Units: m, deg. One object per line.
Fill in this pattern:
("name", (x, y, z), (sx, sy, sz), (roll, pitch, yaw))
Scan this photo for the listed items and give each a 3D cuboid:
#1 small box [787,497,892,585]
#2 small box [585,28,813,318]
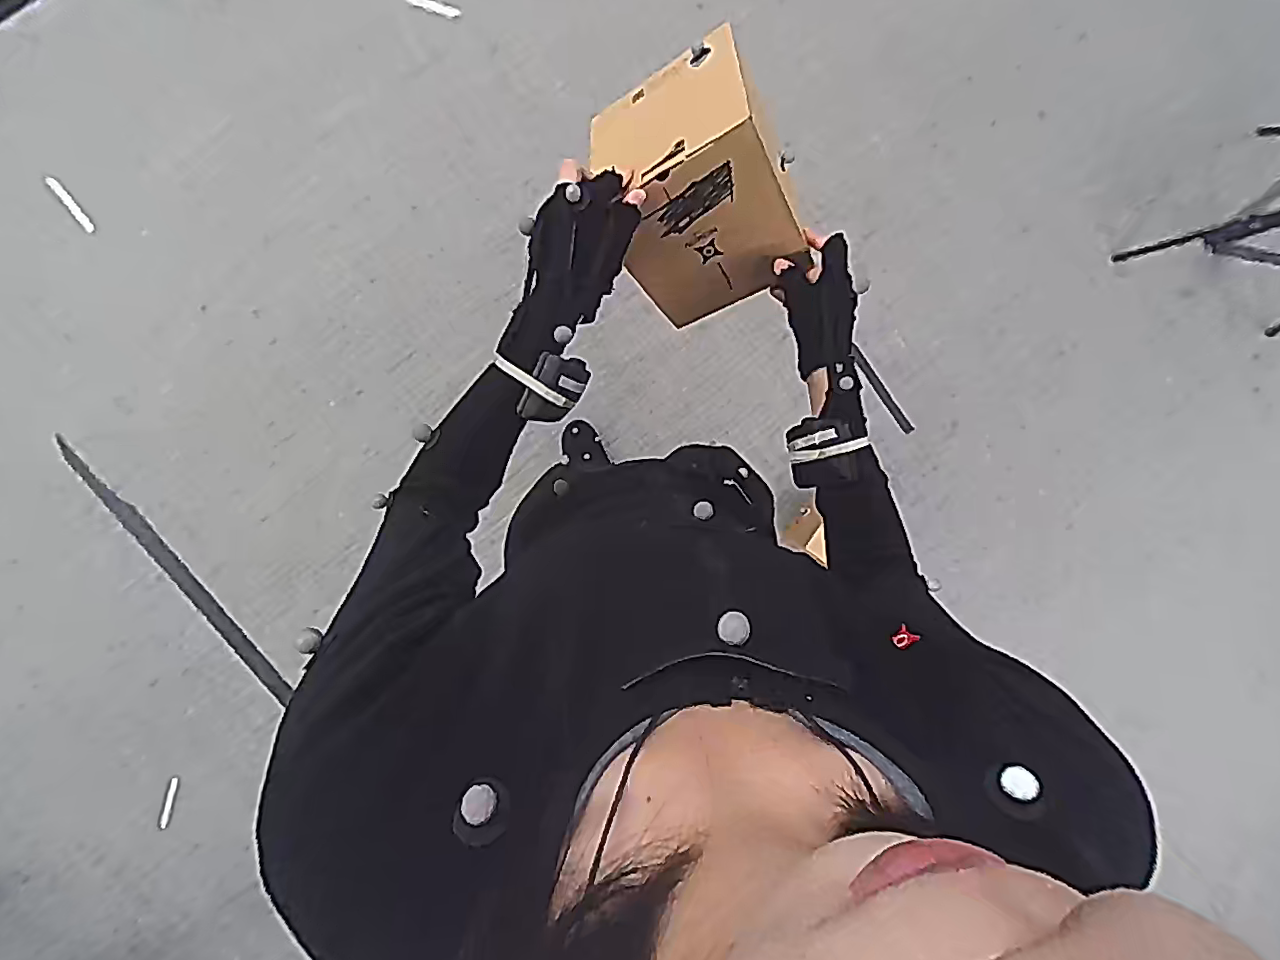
("small box", (0.541, 0.159, 1.490), (0.179, 0.176, 0.168), (35, 90, -6))
("small box", (0.059, -0.311, 0.557), (0.168, 0.179, 0.176), (-19, 57, 29))
